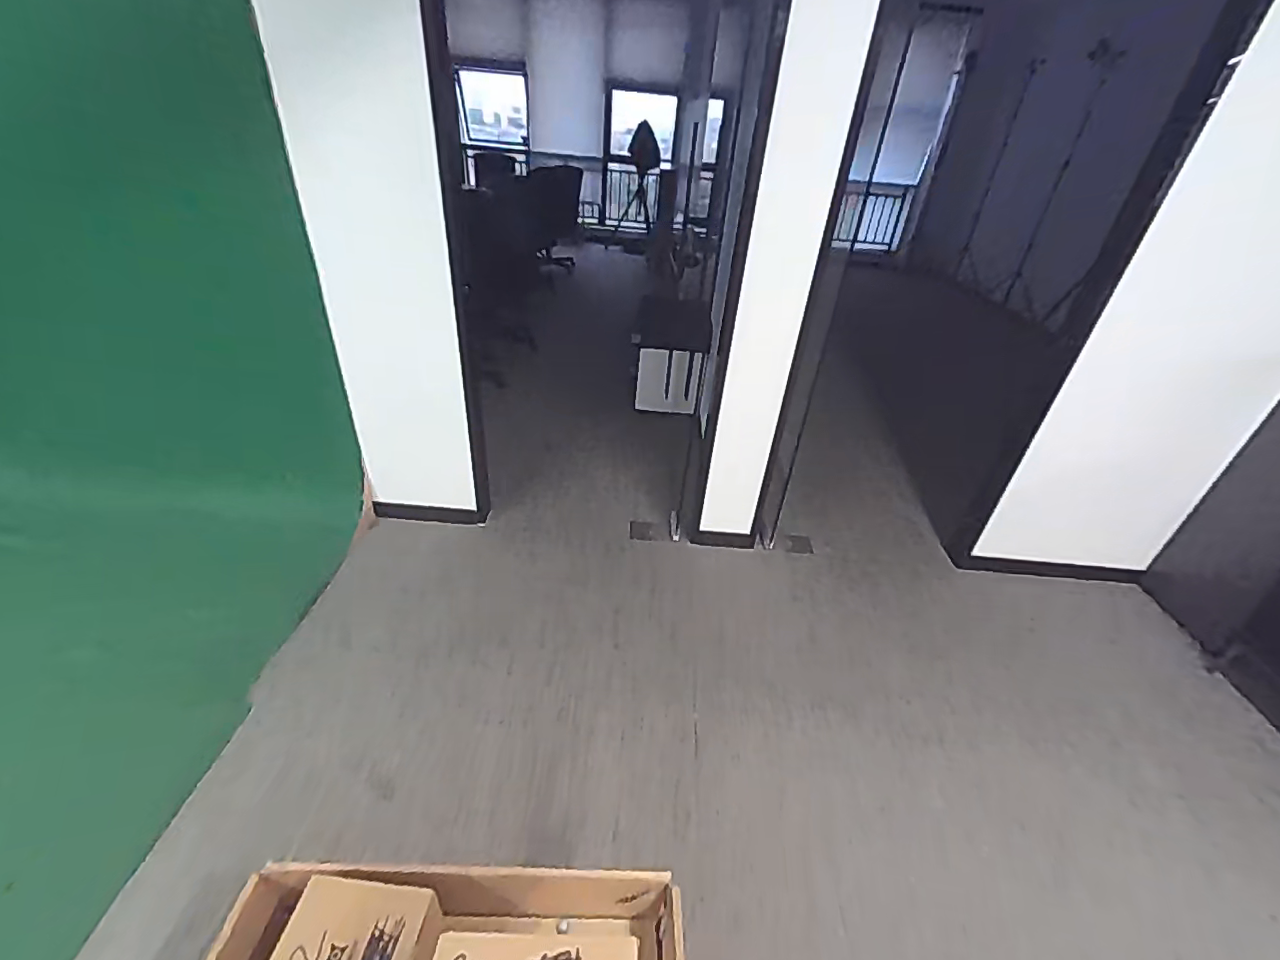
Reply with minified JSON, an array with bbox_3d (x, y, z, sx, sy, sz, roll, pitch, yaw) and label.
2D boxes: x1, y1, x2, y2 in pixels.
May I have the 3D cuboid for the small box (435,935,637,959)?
[{"bbox_3d":[-0.090,0.496,0.429,0.168,0.176,0.179,4,39,-1],"label":"small box"}]
